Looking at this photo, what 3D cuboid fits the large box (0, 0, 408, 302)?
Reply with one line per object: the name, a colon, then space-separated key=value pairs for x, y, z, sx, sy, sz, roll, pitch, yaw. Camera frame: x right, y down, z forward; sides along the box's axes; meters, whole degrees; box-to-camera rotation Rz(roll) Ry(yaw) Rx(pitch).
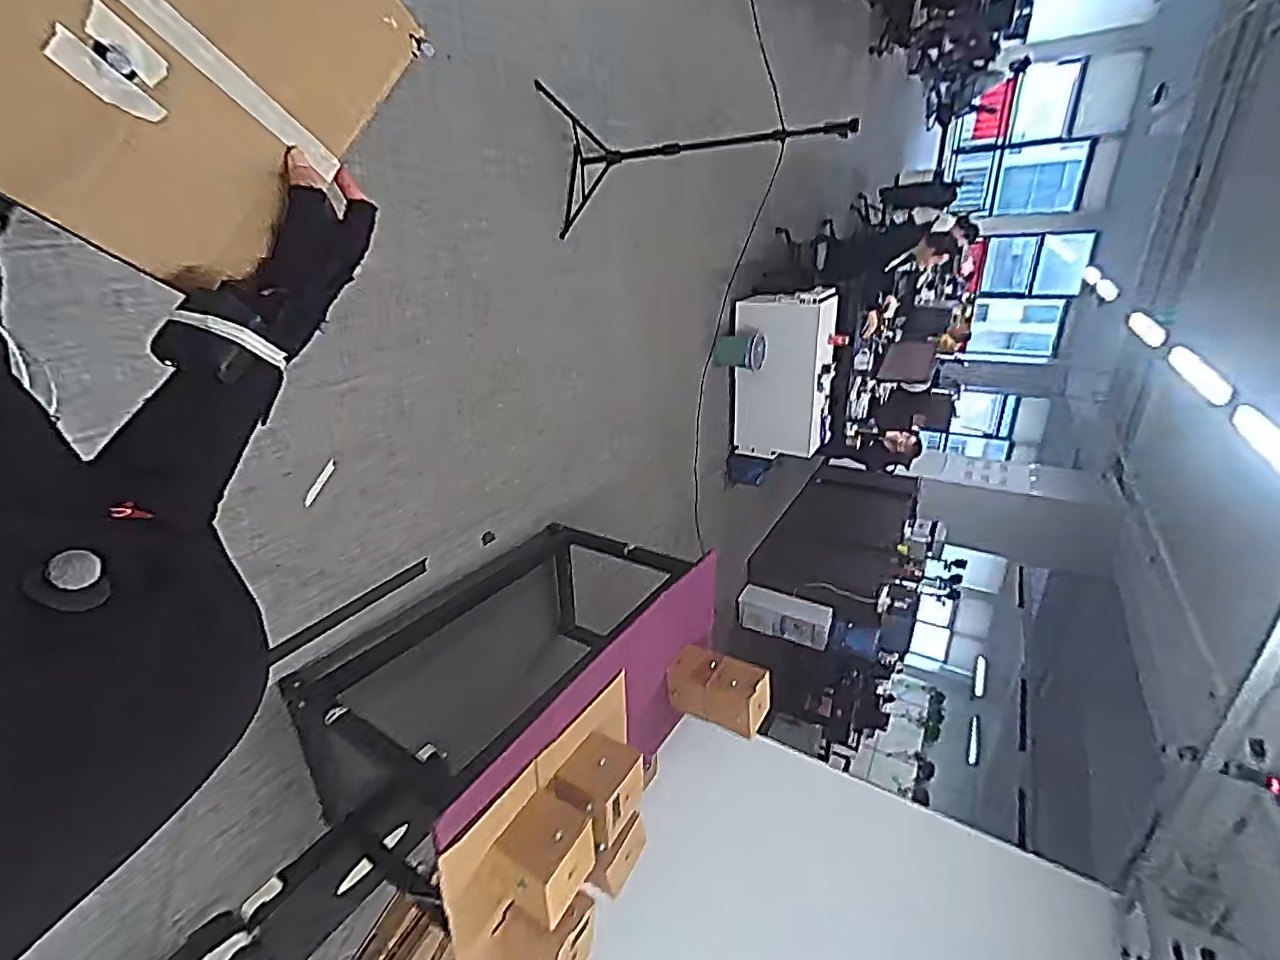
large box: x=-0.485 y=-0.403 z=0.399 sx=0.320 sy=0.320 sz=0.408 roll=-60 pitch=149 yaw=-5
